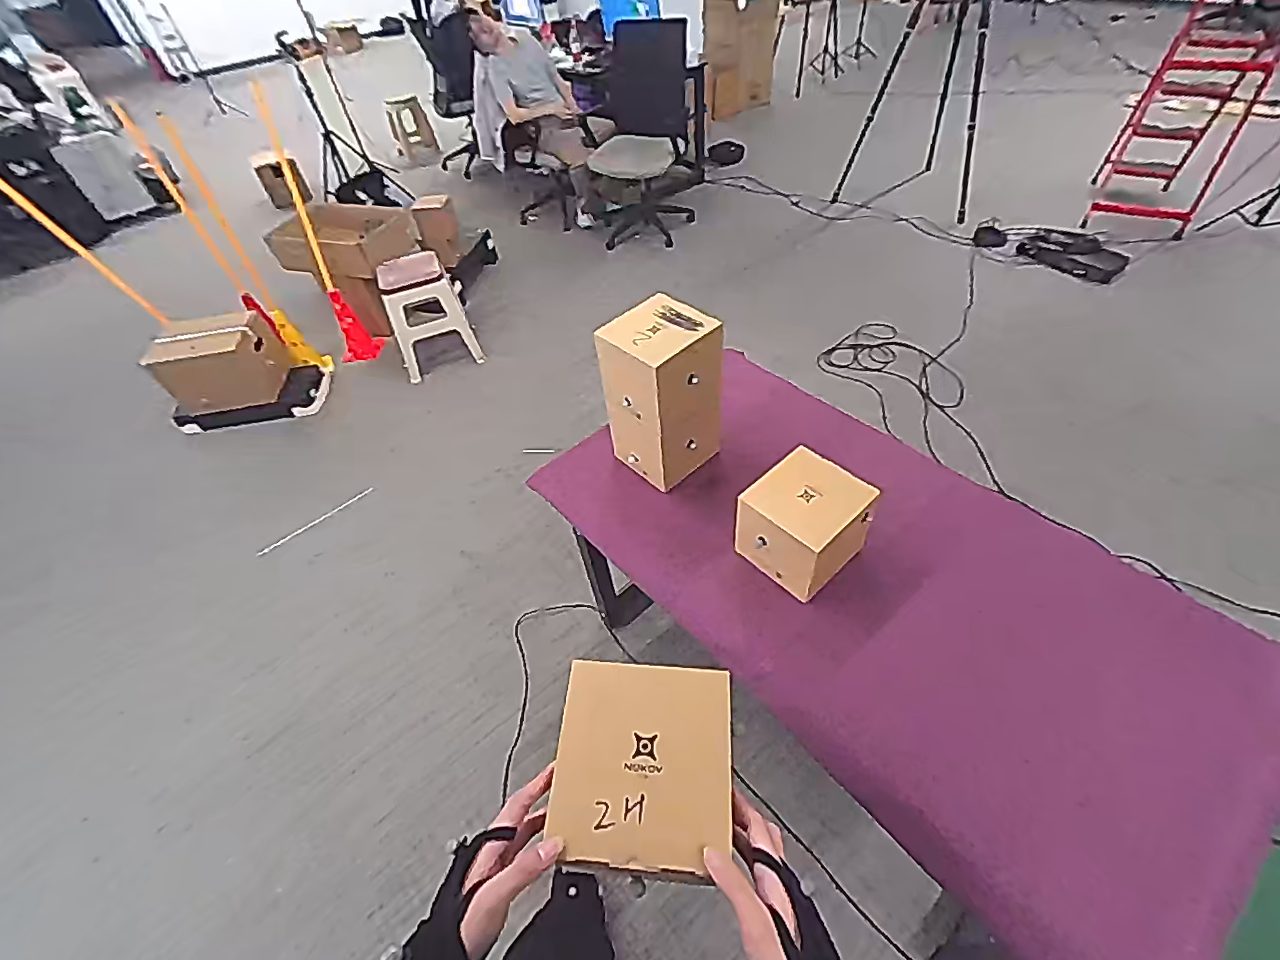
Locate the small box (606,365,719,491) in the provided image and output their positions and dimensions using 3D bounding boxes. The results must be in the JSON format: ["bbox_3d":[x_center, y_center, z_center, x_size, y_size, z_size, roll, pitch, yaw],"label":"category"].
[{"bbox_3d":[0.050,-0.111,1.164,0.179,0.176,0.168,-37,55,-24],"label":"small box"}]

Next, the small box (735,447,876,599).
[{"bbox_3d":[0.288,0.080,0.972,0.179,0.176,0.168,-36,54,-24],"label":"small box"}]
